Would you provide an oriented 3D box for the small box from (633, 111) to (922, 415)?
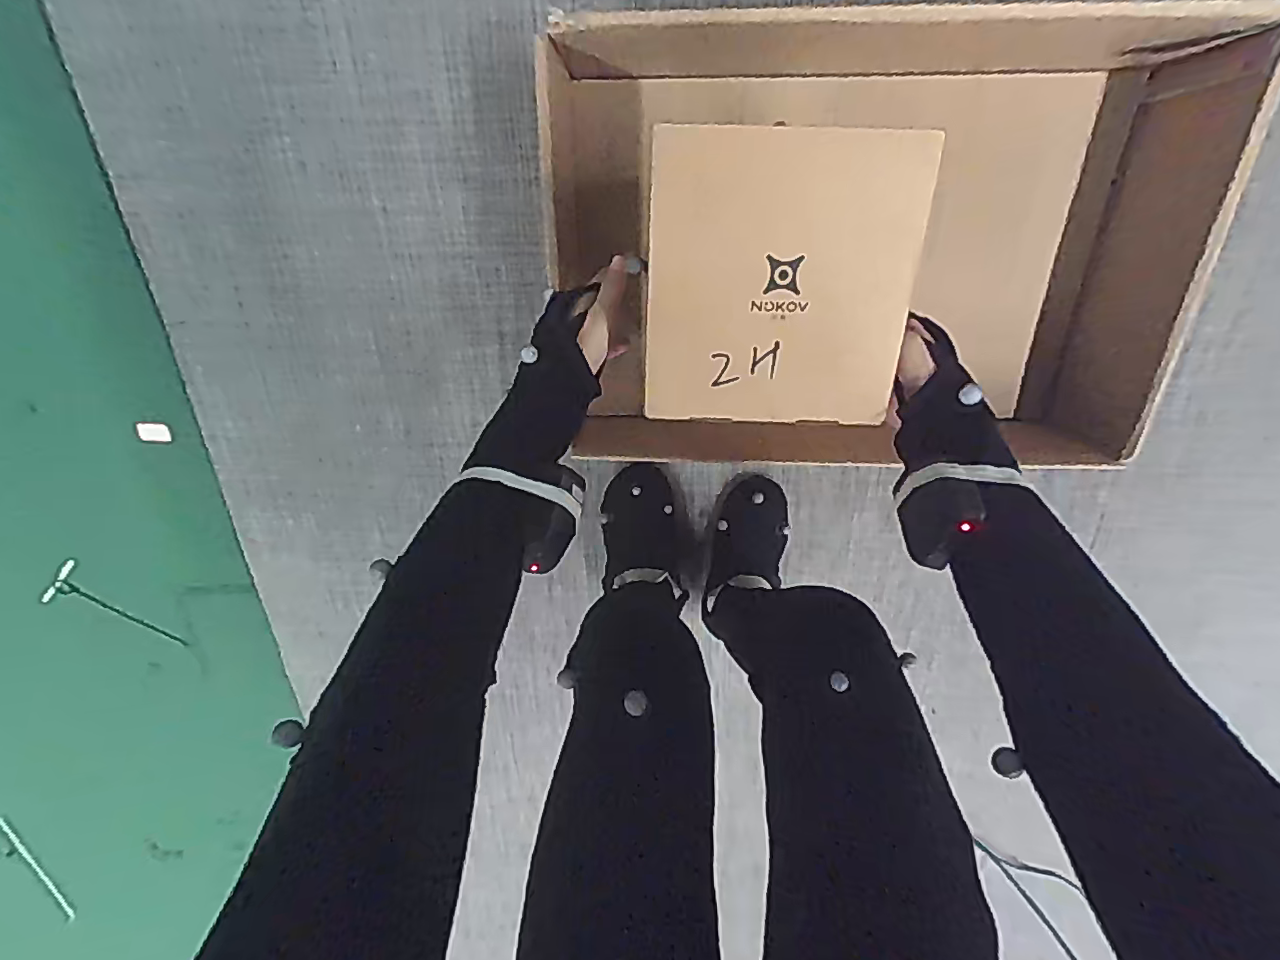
[{"bbox_3d":[0.080,-0.160,0.417,0.168,0.176,0.179,2,114,1],"label":"small box"}]
